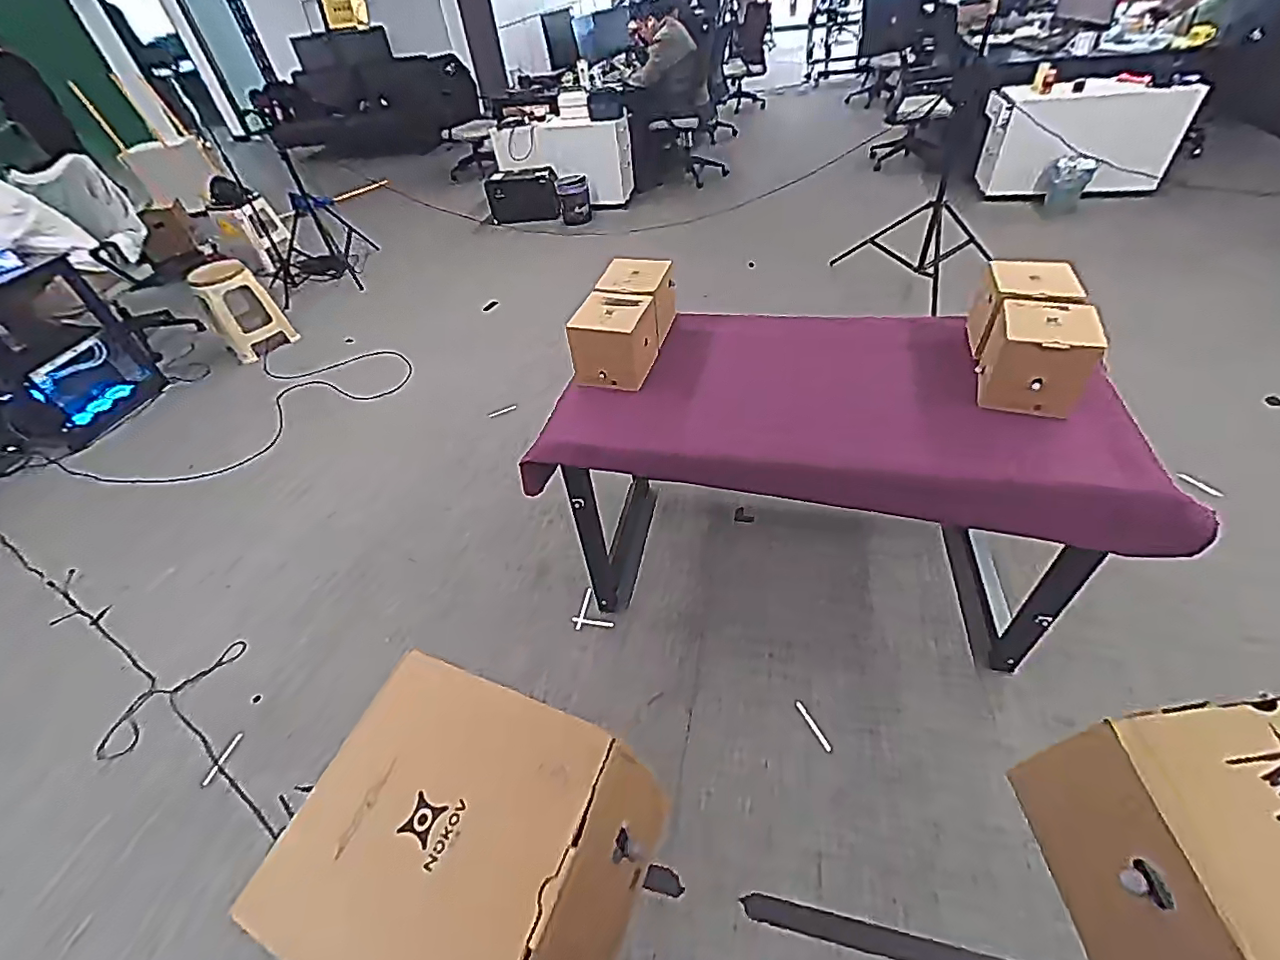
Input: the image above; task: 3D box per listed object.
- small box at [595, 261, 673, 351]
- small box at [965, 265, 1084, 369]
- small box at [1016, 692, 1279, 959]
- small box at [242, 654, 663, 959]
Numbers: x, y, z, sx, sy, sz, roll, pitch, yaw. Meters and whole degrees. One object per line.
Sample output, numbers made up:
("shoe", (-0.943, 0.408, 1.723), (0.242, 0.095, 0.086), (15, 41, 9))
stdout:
("small box", (-0.008, -0.475, 1.469), (0.168, 0.176, 0.179), (9, 47, 16))
("small box", (0.882, -0.382, 1.263), (0.168, 0.176, 0.179), (9, 46, 15))
("small box", (0.364, 0.238, 0.312), (0.168, 0.176, 0.179), (-11, 51, 5))
("small box", (-0.099, 0.251, 0.370), (0.179, 0.176, 0.168), (10, 52, 25))
